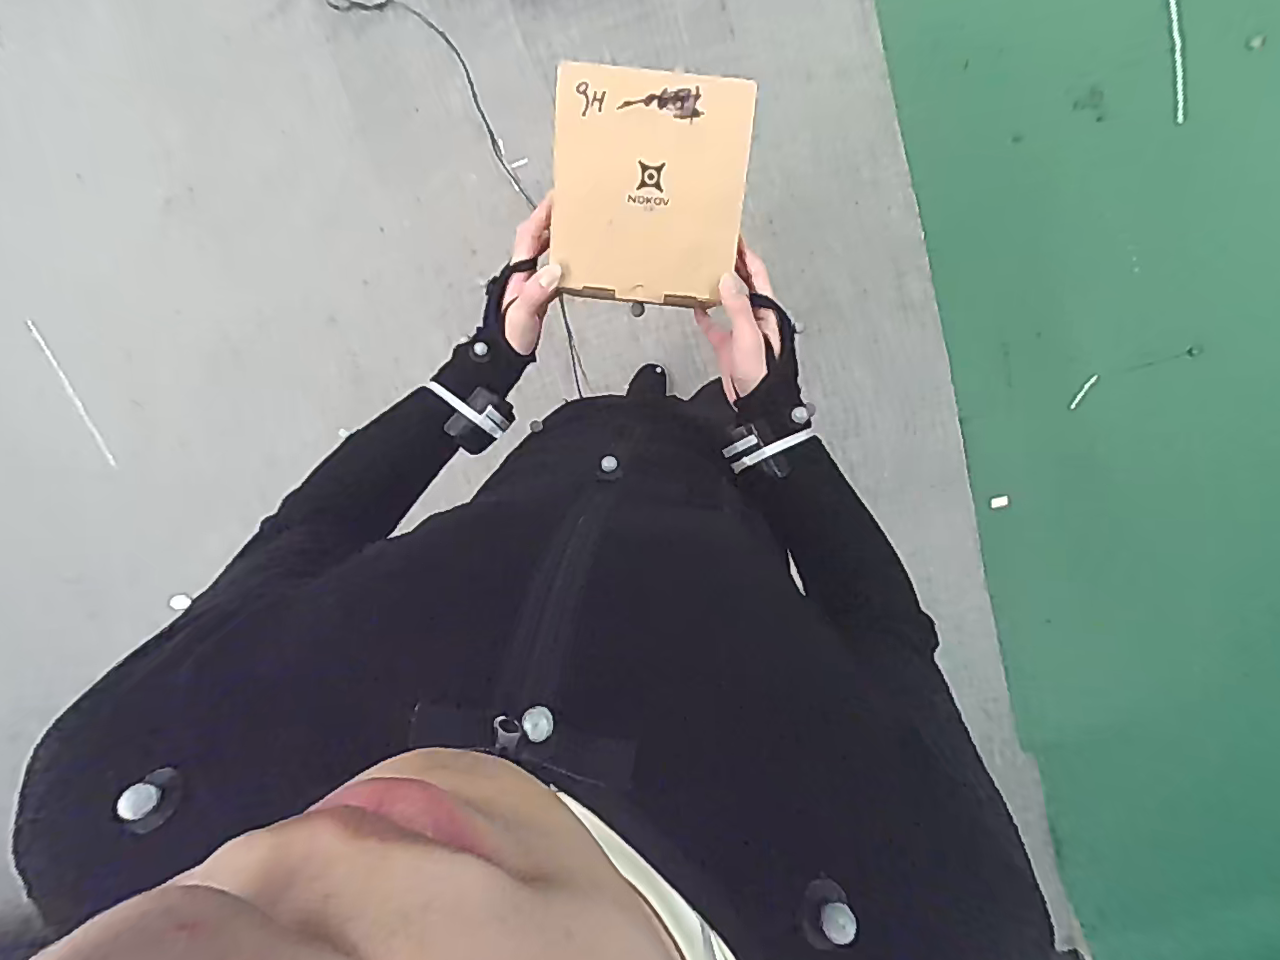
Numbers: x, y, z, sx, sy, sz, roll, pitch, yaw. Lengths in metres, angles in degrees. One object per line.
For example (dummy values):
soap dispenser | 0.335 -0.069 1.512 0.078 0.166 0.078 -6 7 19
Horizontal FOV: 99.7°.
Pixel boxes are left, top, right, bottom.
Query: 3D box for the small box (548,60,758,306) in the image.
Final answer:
small box | 0.008 -0.273 0.538 0.168 0.176 0.179 5 107 -2
